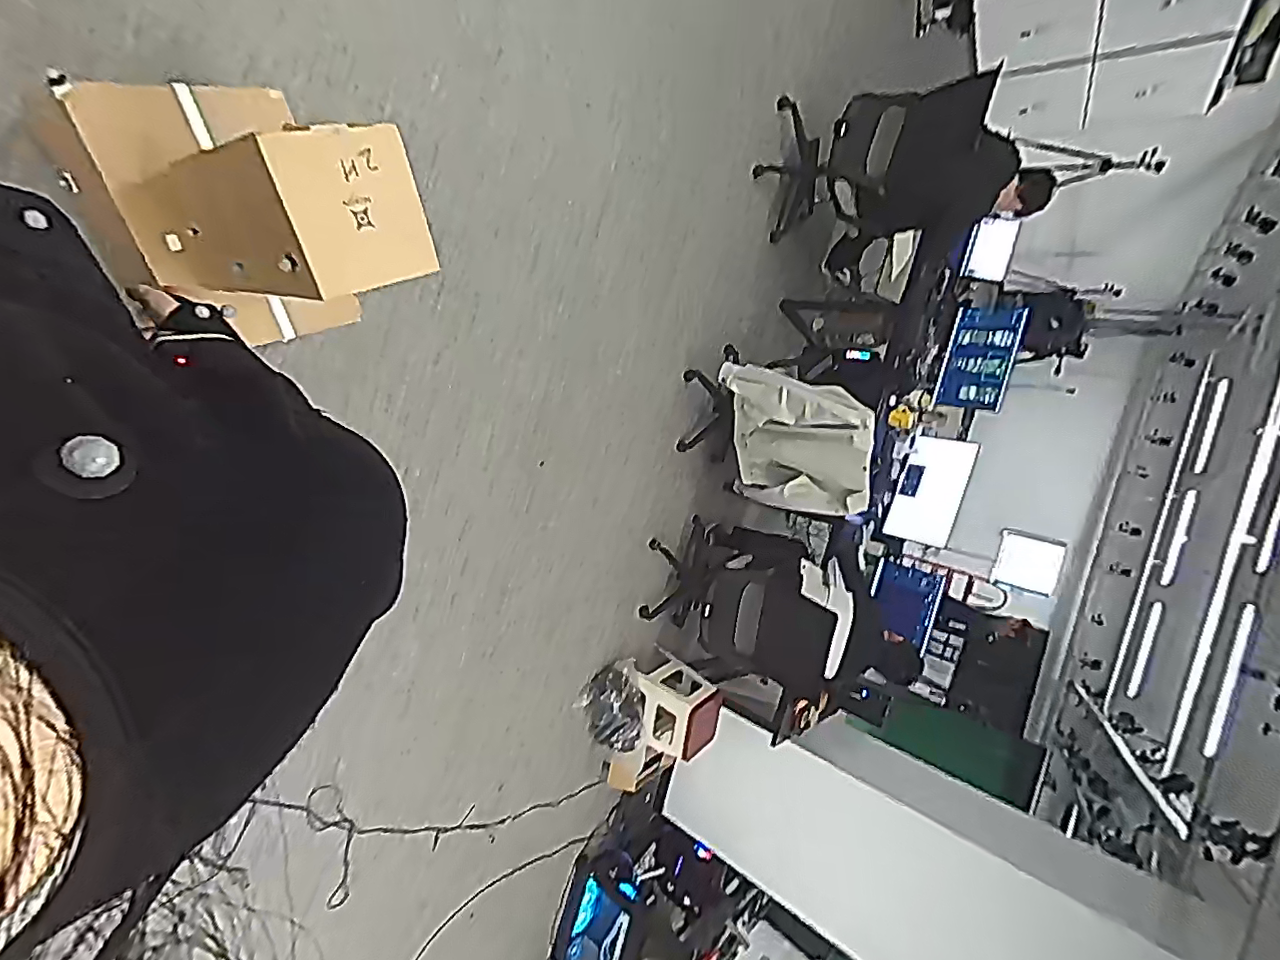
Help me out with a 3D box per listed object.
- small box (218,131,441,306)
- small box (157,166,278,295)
[{"bbox_3d":[-0.396,-0.339,0.702,0.168,0.176,0.179,-37,132,-39],"label":"small box"},{"bbox_3d":[-0.649,-0.417,0.898,0.168,0.176,0.179,-37,132,-38],"label":"small box"}]
